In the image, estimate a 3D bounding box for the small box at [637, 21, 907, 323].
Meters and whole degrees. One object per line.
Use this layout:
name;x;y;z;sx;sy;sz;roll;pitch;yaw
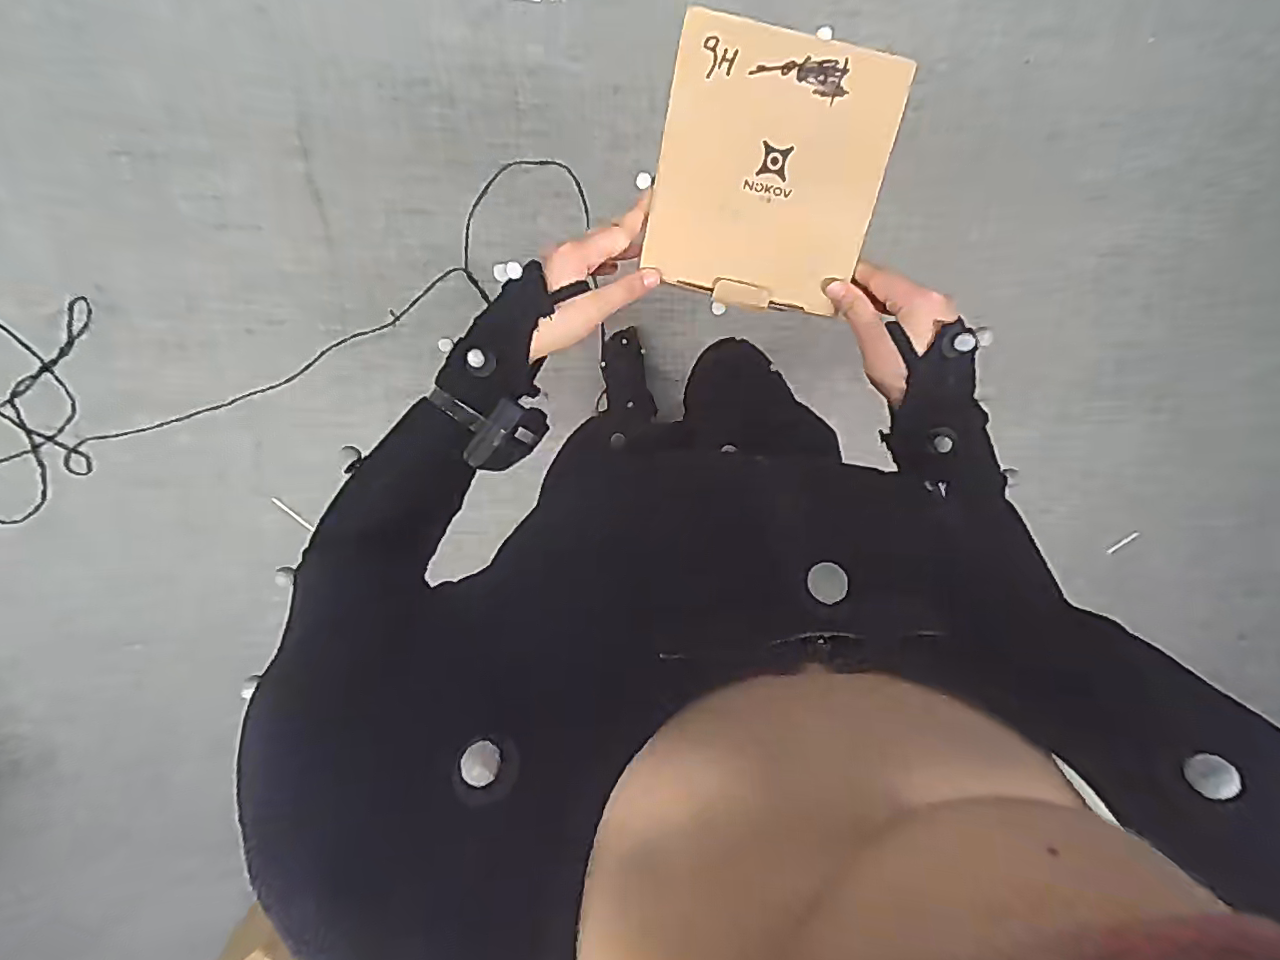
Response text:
small box;0.094;-0.249;0.479;0.168;0.176;0.179;10;110;-4
